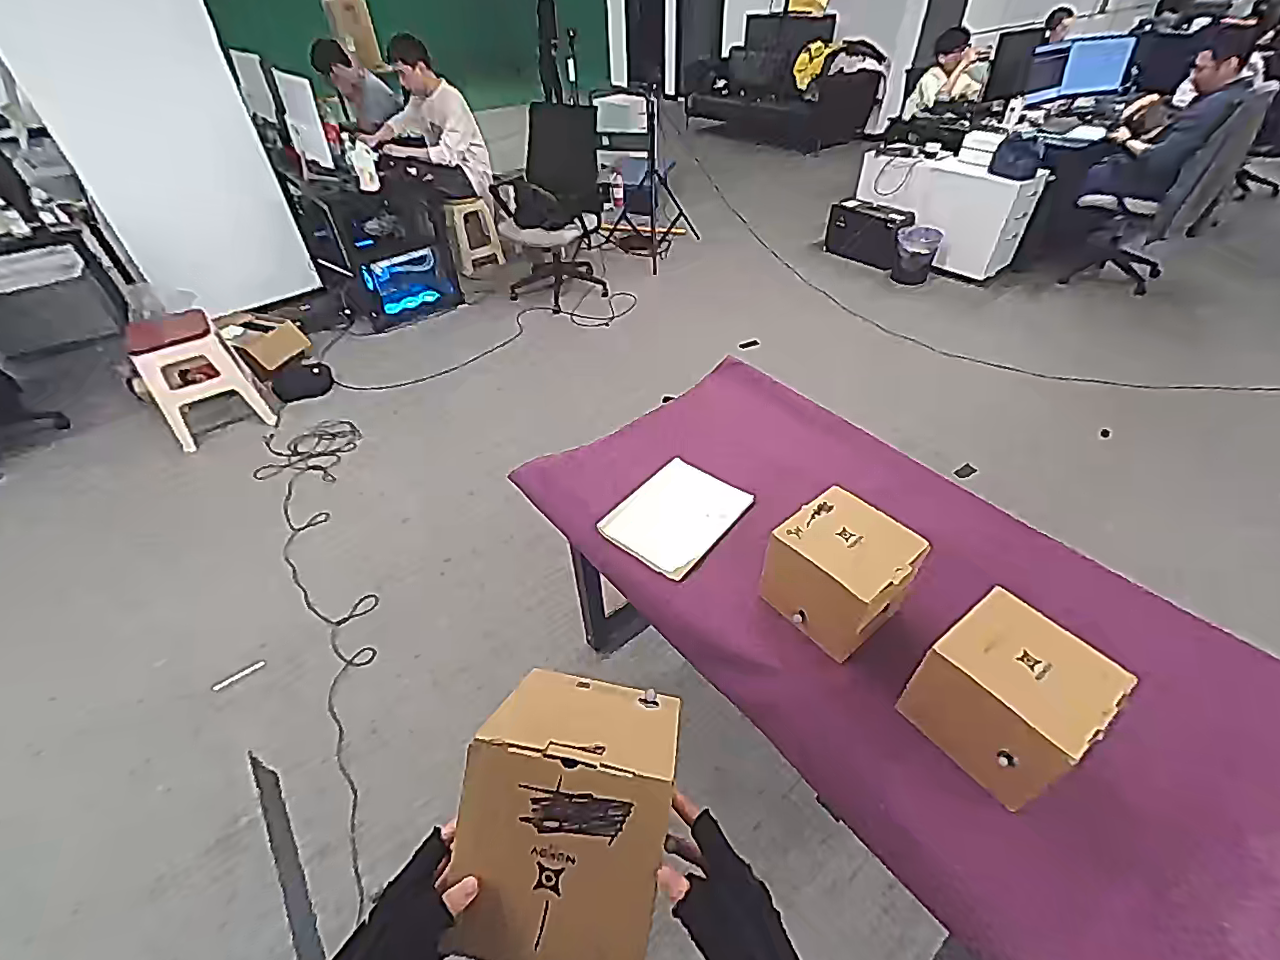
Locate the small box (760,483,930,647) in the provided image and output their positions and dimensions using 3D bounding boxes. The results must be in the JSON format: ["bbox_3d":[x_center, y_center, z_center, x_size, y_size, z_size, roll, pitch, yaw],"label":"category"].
[{"bbox_3d":[0.320,0.143,0.875,0.168,0.176,0.179,-30,51,-27],"label":"small box"}]

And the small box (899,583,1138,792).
[{"bbox_3d":[0.488,0.280,0.722,0.168,0.176,0.179,-26,46,-26],"label":"small box"}]
